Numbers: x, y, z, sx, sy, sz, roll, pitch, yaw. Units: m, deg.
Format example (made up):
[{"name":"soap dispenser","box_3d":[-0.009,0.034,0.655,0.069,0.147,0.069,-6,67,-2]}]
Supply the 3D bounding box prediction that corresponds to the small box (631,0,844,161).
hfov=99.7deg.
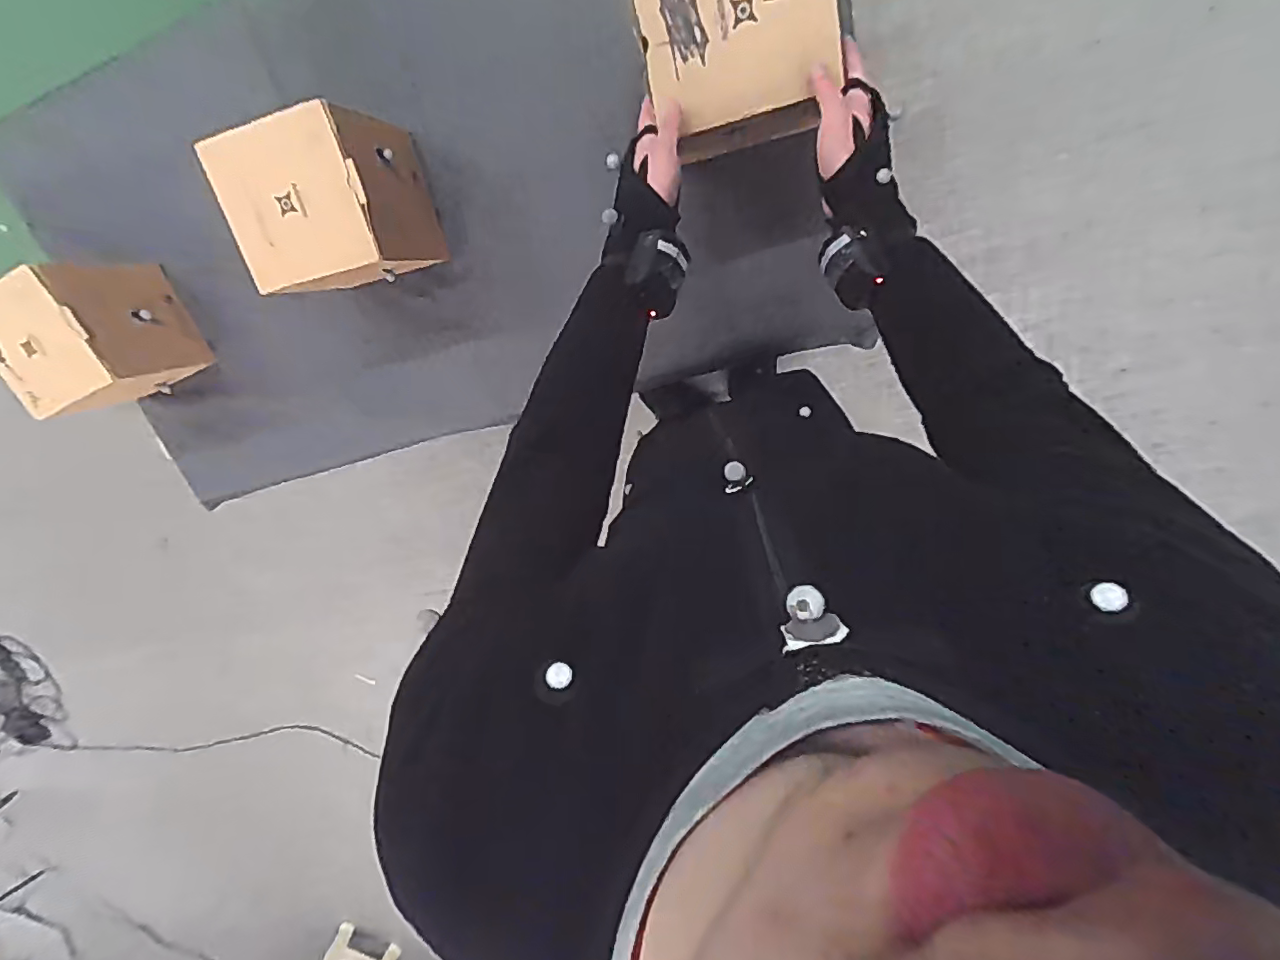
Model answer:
[{"name":"small box","box_3d":[0.095,-0.444,0.546,0.179,0.176,0.168,-8,111,13]}]

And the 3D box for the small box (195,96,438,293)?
[{"name":"small box","box_3d":[-0.380,-0.342,0.677,0.179,0.176,0.168,-9,109,15]}]

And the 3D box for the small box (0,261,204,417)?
[{"name":"small box","box_3d":[-0.806,-0.215,0.803,0.179,0.176,0.168,-17,108,15]}]
